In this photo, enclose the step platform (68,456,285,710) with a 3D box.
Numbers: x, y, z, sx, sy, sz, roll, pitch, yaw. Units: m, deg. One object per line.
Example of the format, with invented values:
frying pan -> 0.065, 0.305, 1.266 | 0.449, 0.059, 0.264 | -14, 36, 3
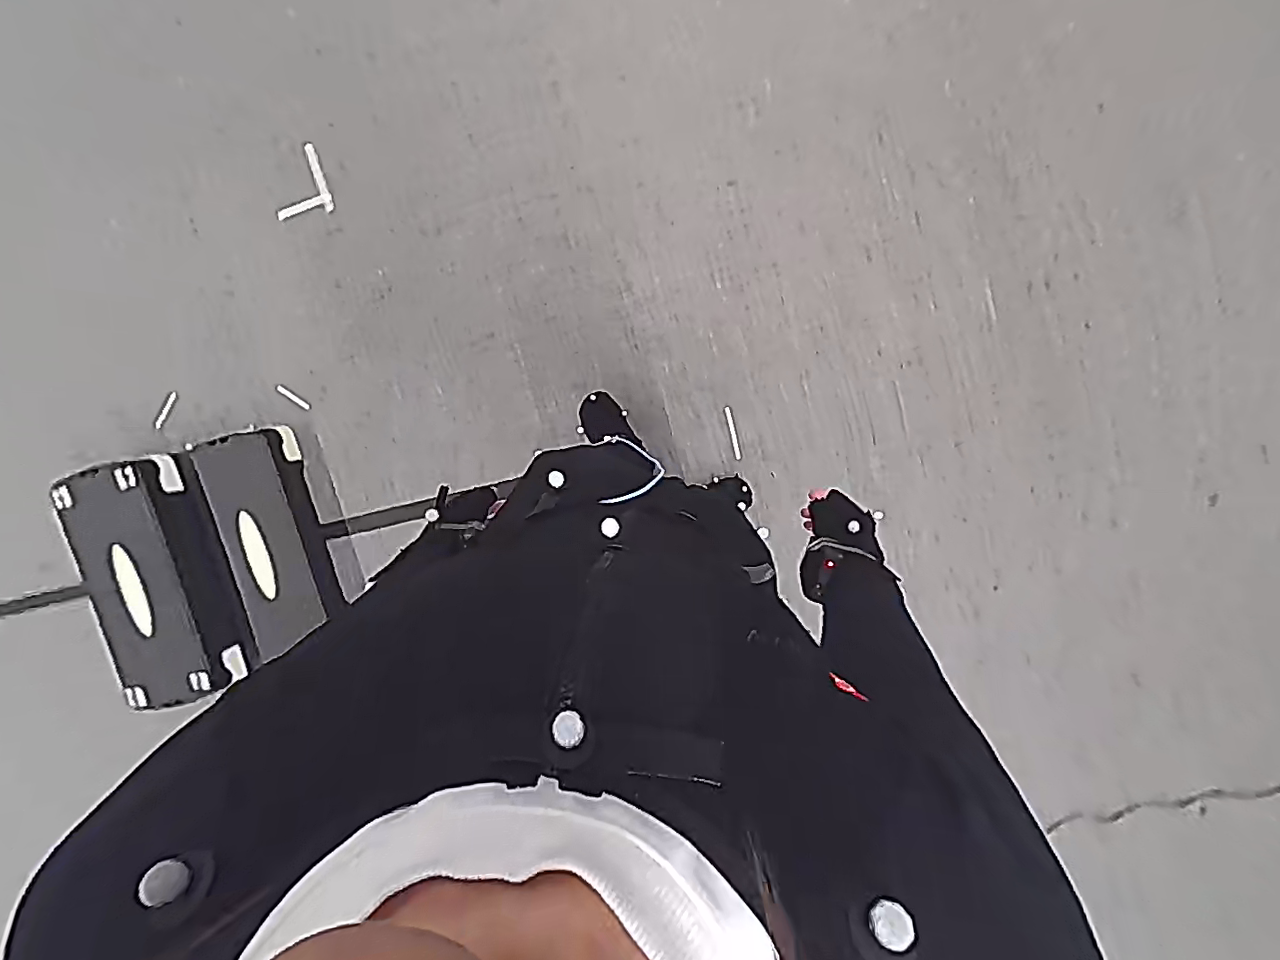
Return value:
step platform -> -1.281, 0.286, 1.509 | 0.286, 0.204, 0.684 | -15, 95, 6
